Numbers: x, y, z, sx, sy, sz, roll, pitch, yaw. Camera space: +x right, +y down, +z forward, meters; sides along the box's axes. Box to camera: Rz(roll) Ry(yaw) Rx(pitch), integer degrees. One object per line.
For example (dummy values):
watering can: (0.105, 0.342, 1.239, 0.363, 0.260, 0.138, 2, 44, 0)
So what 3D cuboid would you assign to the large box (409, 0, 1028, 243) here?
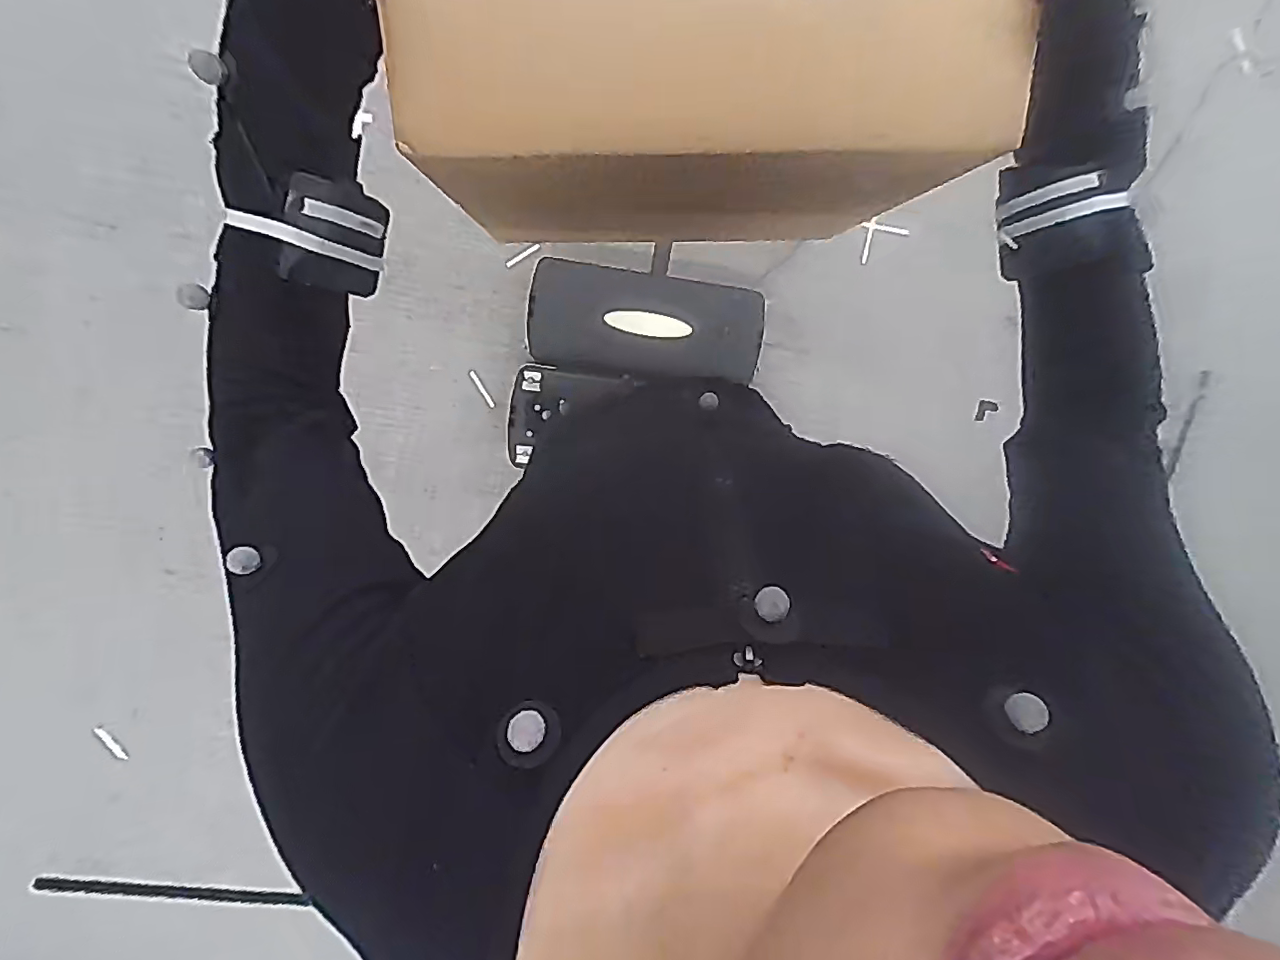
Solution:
large box: (0.041, -0.405, 0.468, 0.408, 0.320, 0.320, -3, 105, -3)
